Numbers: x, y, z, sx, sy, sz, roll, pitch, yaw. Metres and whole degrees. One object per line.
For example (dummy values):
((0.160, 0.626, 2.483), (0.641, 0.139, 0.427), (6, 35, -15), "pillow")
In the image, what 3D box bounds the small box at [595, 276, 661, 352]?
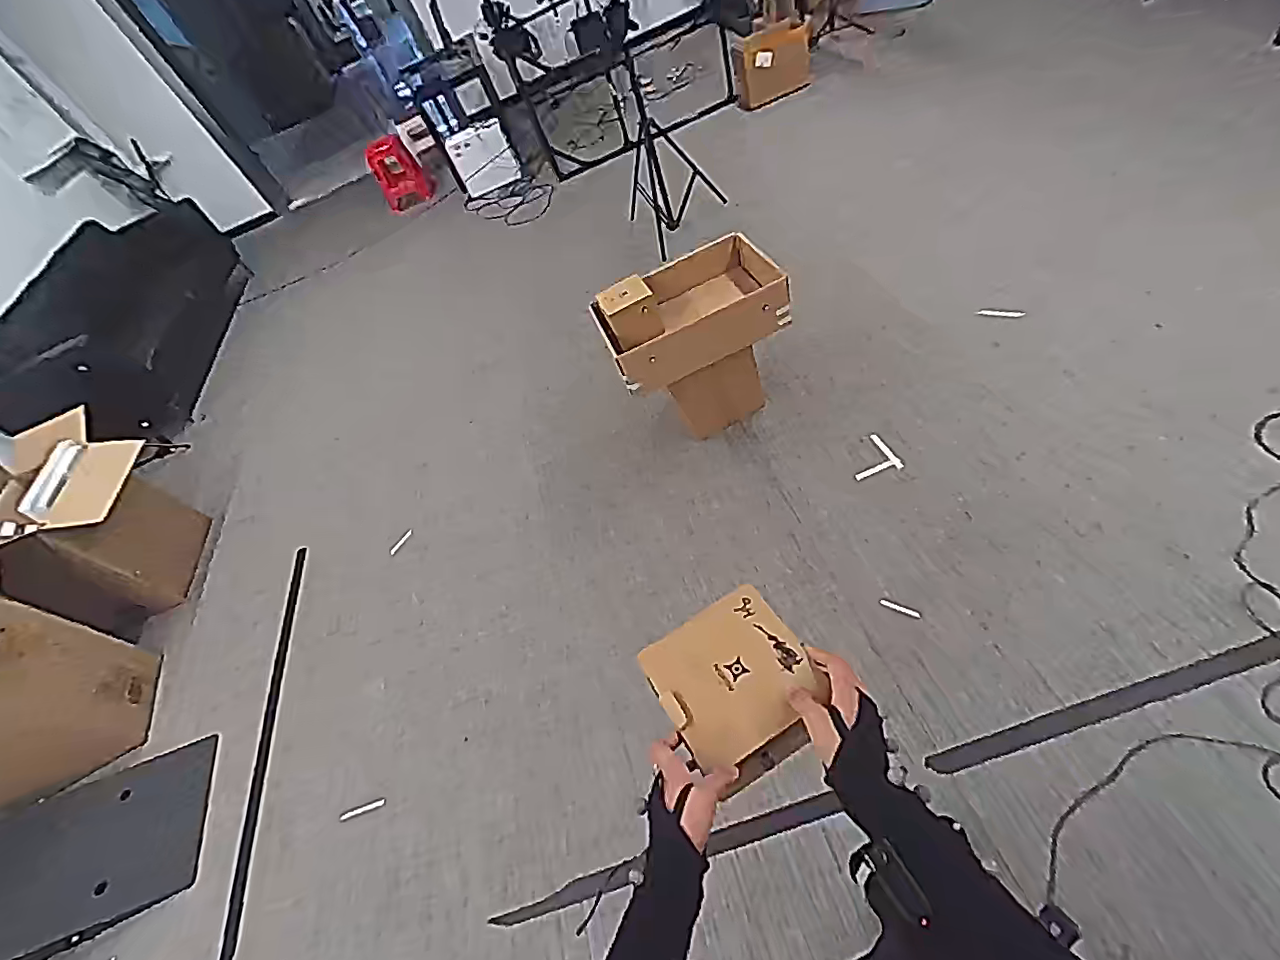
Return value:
((-0.036, -0.599, 1.958), (0.179, 0.176, 0.168), (-27, 48, 1), "small box")

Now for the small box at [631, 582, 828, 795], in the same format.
((0.117, 0.270, 0.690), (0.179, 0.176, 0.168), (-31, 52, -9), "small box")
